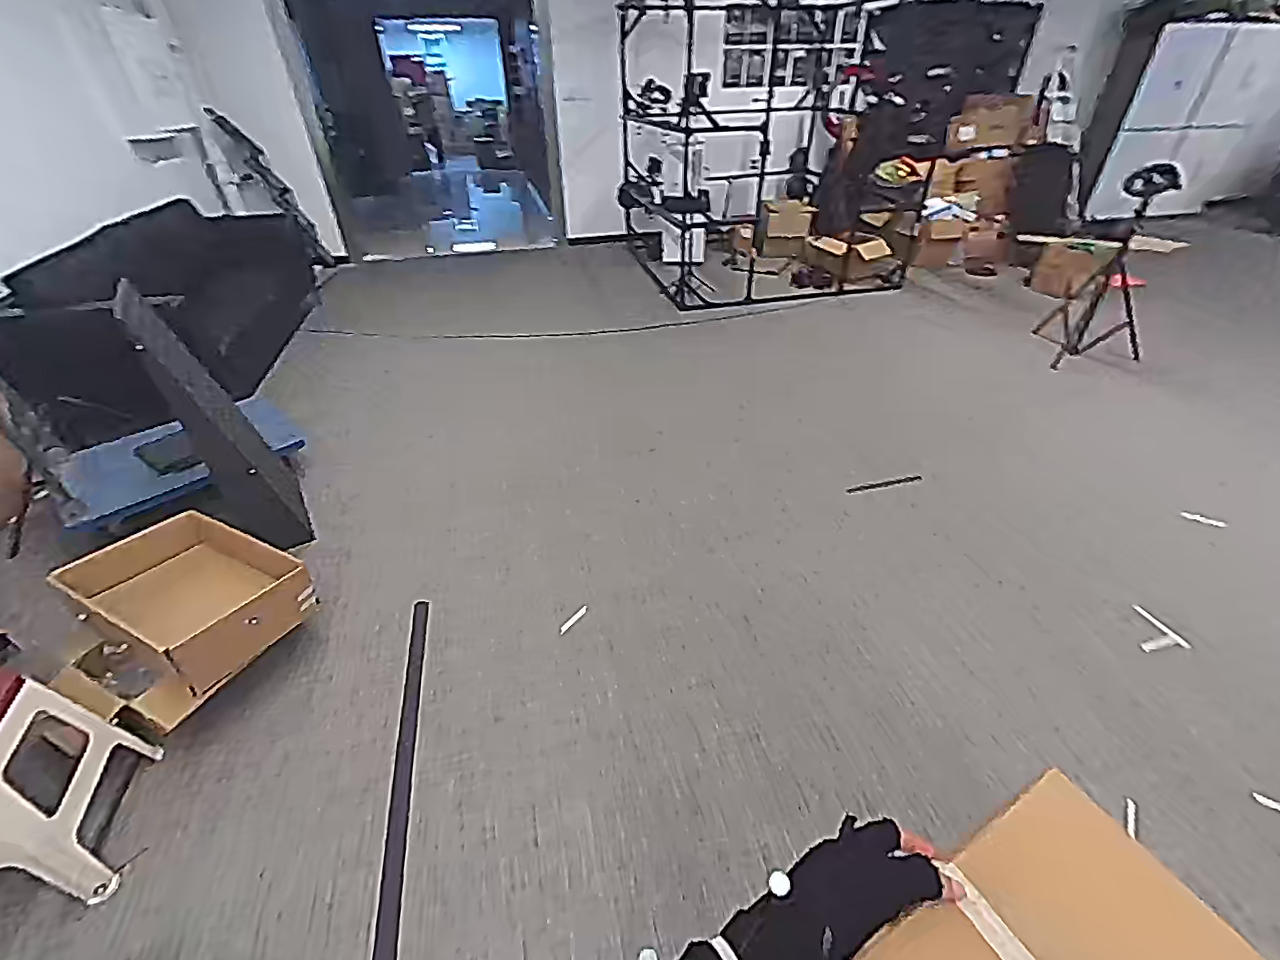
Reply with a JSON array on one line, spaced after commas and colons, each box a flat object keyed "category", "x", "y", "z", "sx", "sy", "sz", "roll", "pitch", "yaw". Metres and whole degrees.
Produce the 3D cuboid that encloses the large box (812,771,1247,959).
[{"category": "large box", "x": 0.342, "y": 0.542, "z": 0.421, "sx": 0.320, "sy": 0.320, "sz": 0.408, "roll": -22, "pitch": 47, "yaw": -22}]
